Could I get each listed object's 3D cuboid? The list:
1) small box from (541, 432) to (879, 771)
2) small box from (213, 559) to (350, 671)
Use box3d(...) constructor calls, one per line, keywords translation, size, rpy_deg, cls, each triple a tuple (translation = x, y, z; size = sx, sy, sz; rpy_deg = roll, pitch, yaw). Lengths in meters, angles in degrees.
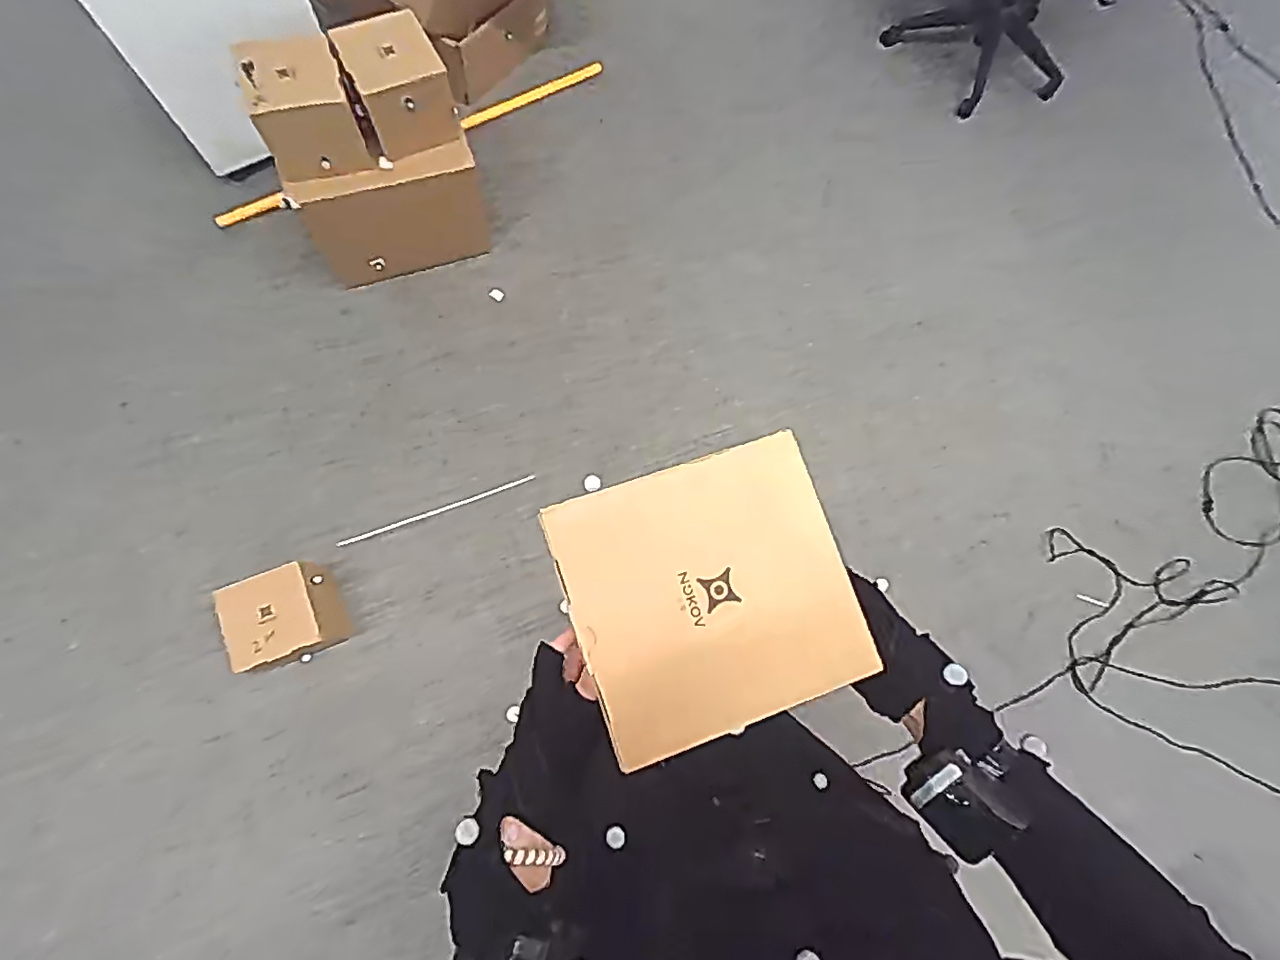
box3d(translation=(0.037, 0.078, 0.411), size=(0.179, 0.176, 0.168), rpy_deg=(-18, 85, -6), cls="small box")
box3d(translation=(-0.752, 0.286, 1.150), size=(0.168, 0.176, 0.179), rpy_deg=(-21, 80, -12), cls="small box")
